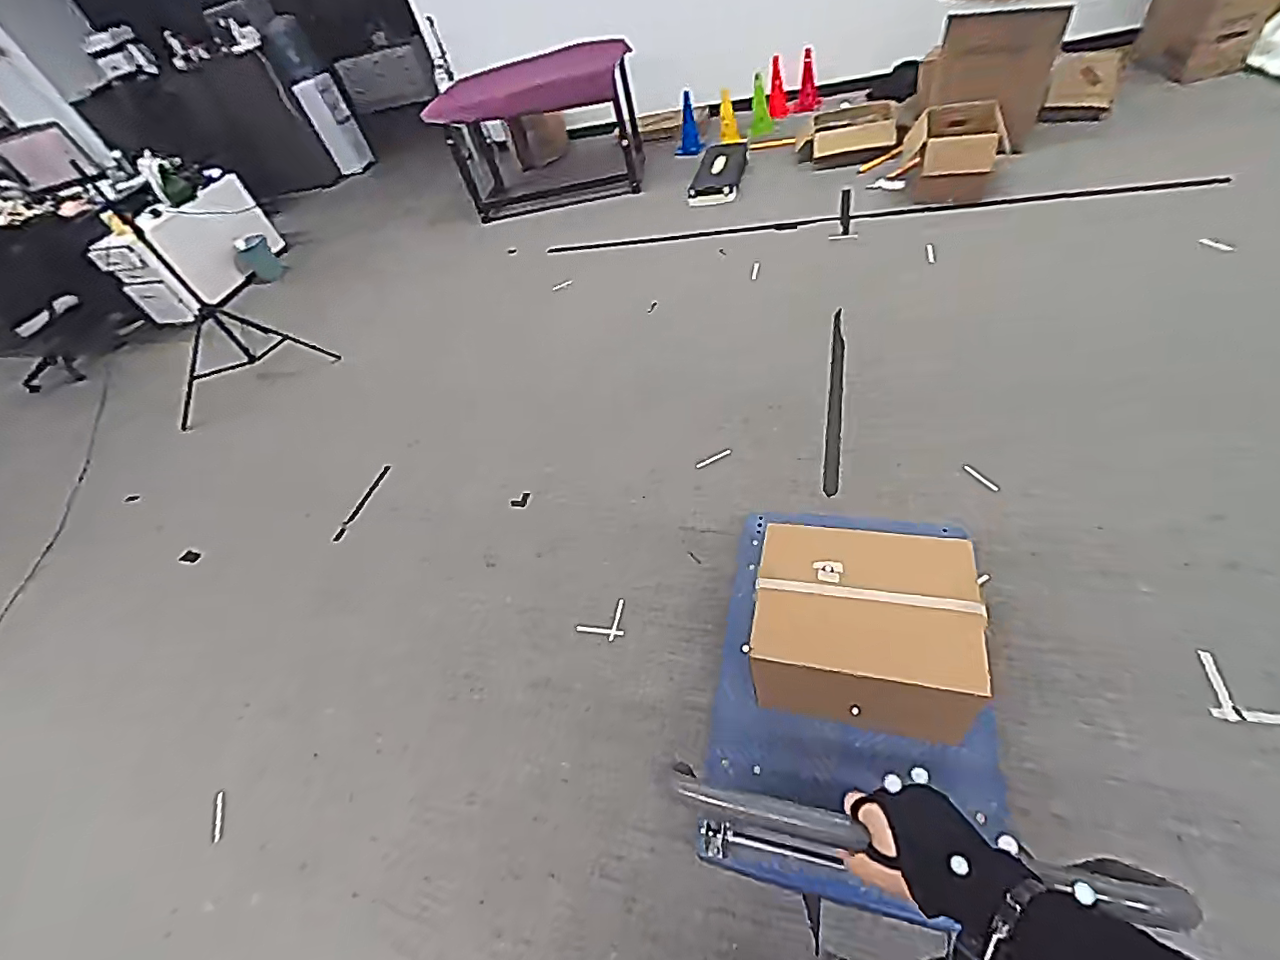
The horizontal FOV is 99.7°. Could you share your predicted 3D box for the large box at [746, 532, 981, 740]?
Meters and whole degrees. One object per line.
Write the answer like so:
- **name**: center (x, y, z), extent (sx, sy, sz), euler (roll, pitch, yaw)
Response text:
- **large box**: center (0.463, 0.334, 1.177), extent (0.408, 0.320, 0.320), euler (3, 51, 20)
